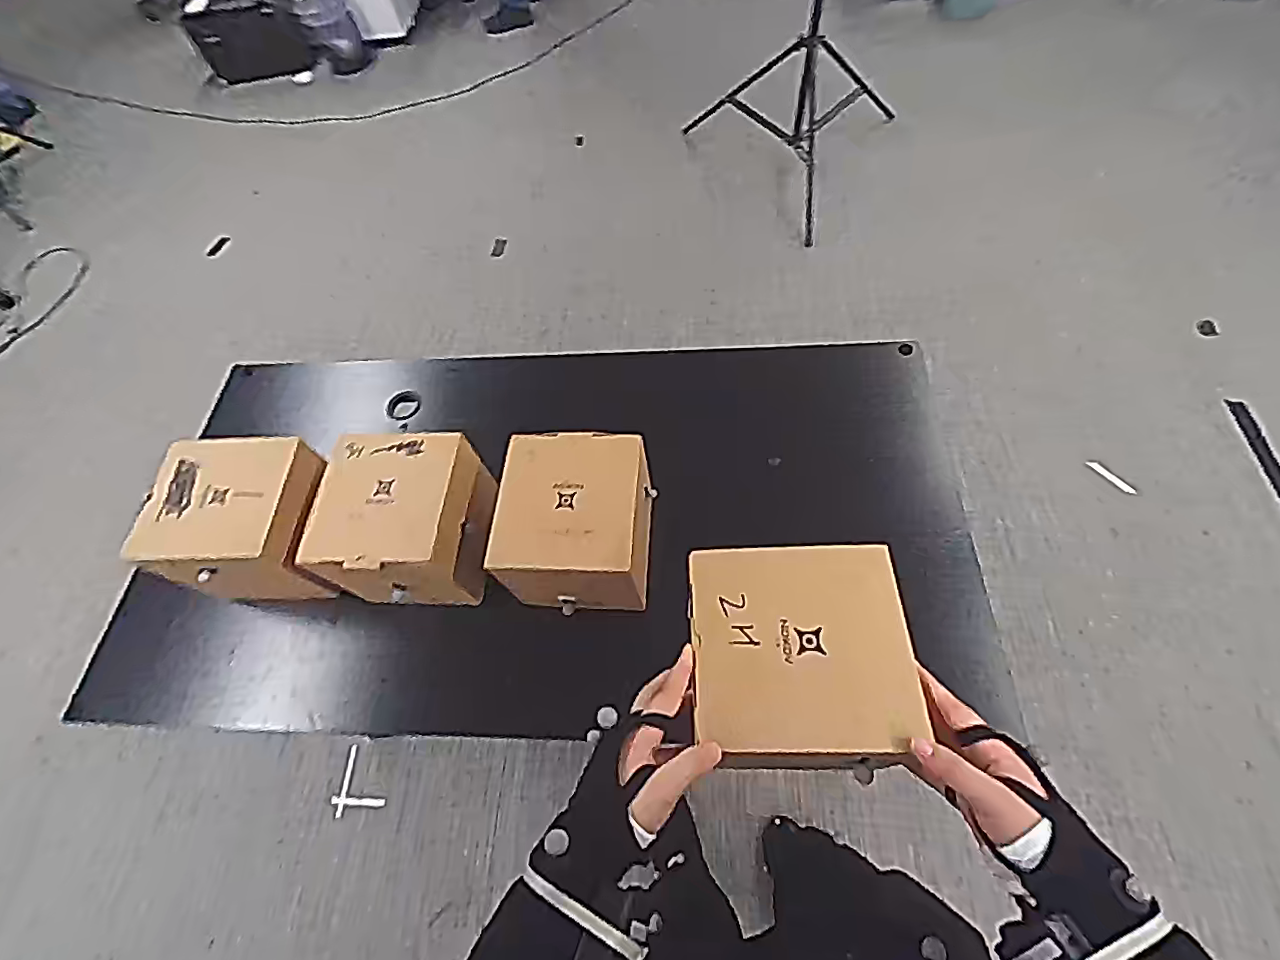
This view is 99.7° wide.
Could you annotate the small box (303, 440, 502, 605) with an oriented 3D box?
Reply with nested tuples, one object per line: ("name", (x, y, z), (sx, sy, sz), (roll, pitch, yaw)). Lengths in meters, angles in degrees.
("small box", (-0.299, 0.064, 0.726), (0.168, 0.176, 0.179), (0, 62, 6))

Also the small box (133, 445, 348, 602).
("small box", (-0.513, 0.067, 0.746), (0.179, 0.176, 0.168), (-2, 62, 4))

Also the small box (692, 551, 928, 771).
("small box", (0.140, 0.177, 0.517), (0.179, 0.176, 0.168), (-2, 57, 7))

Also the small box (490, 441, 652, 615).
("small box", (-0.075, 0.065, 0.703), (0.168, 0.176, 0.179), (-1, 63, 7))
